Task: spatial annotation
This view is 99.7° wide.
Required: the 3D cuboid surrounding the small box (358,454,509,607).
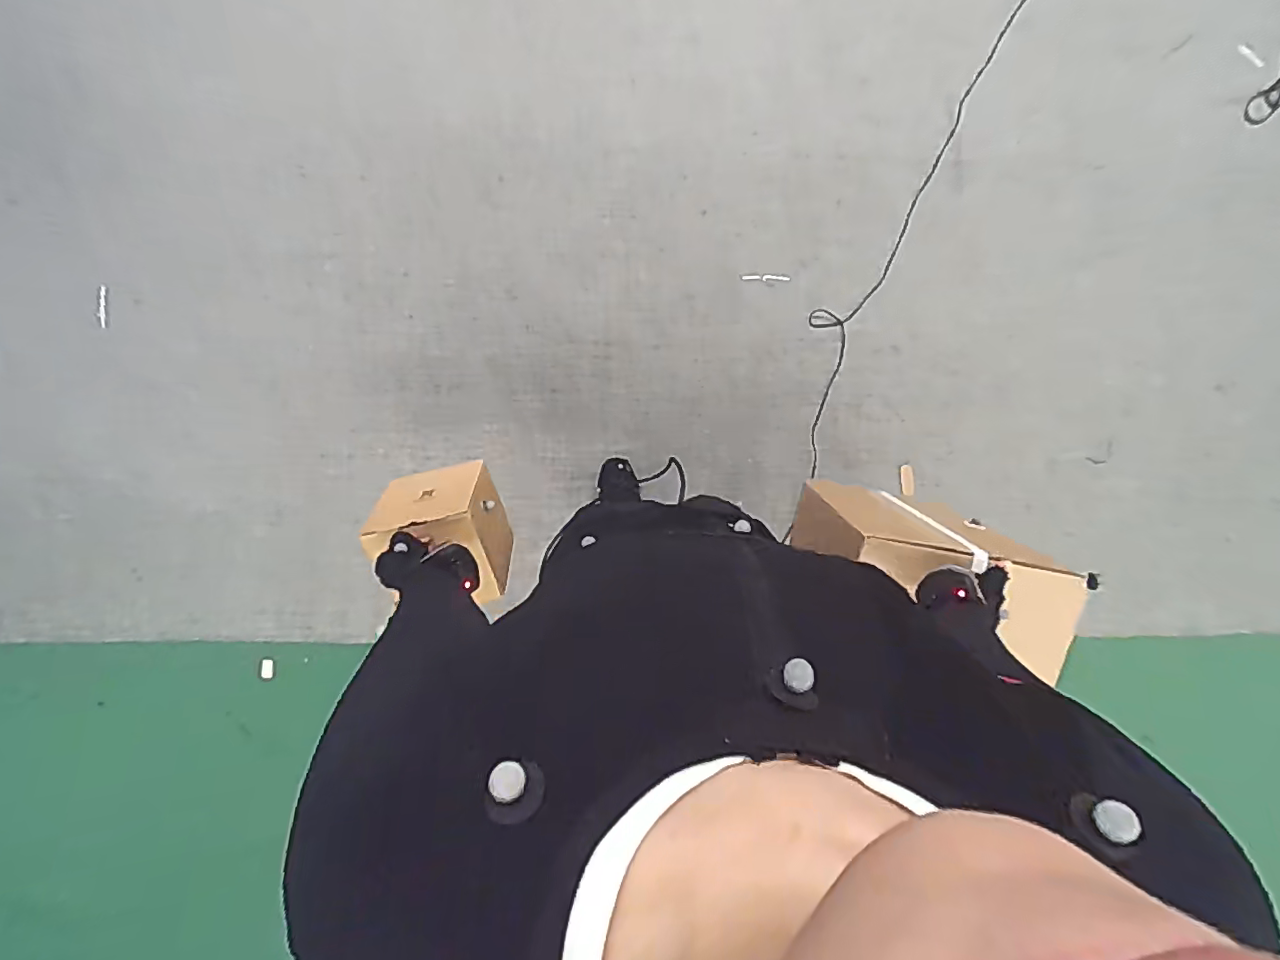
[{"bbox_3d":[-0.326,0.081,0.897,0.168,0.179,0.176,-12,121,0],"label":"small box"}]
